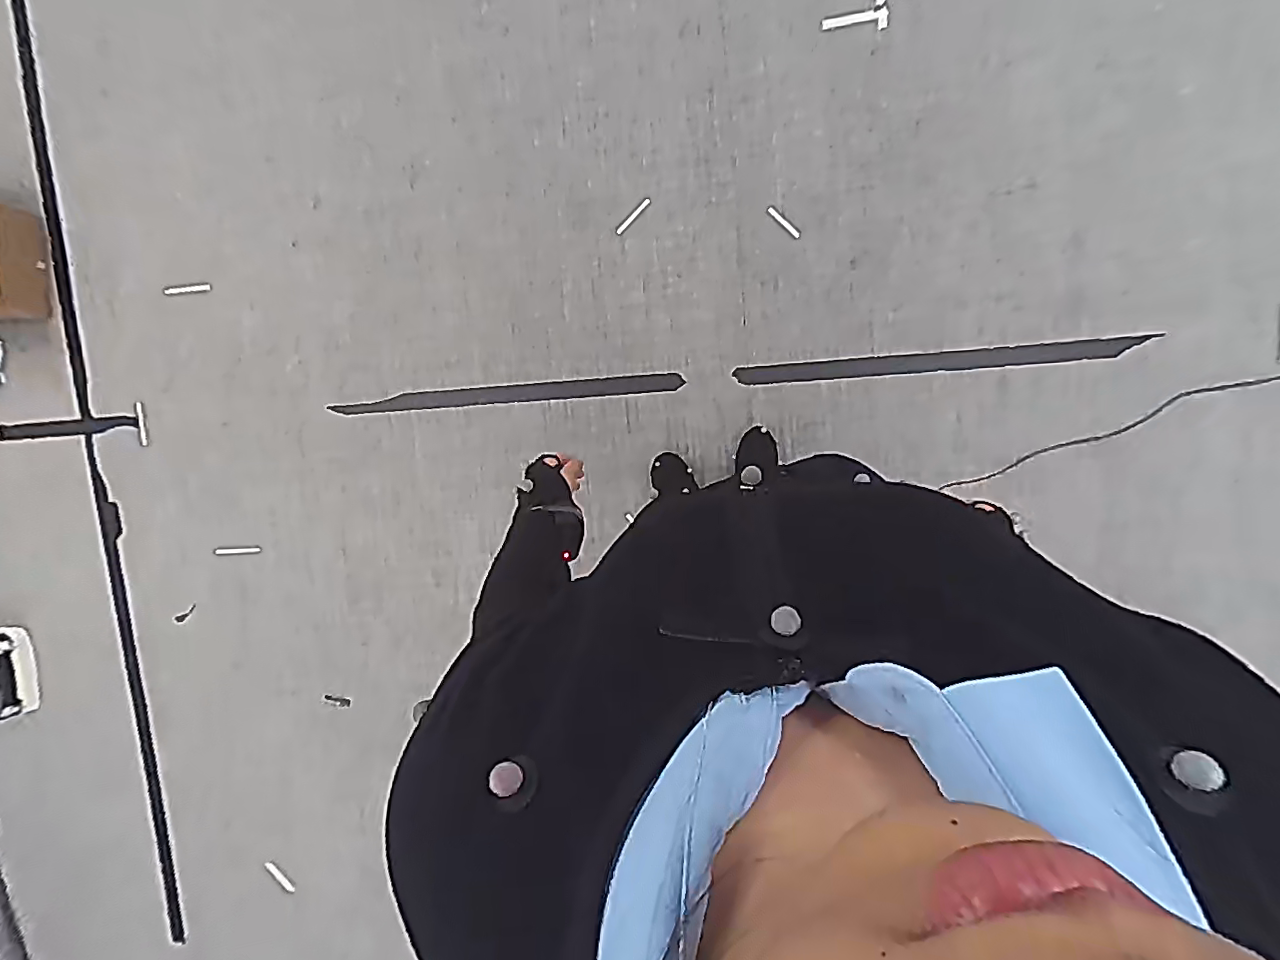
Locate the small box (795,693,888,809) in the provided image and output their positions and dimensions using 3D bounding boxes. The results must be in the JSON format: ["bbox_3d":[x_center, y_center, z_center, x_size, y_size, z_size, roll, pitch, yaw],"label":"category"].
[{"bbox_3d":[0.454,0.612,1.235,0.168,0.176,0.179,-2,94,6],"label":"small box"}]

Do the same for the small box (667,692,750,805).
[{"bbox_3d":[0.161,0.627,1.272,0.168,0.176,0.179,-8,93,7],"label":"small box"}]
